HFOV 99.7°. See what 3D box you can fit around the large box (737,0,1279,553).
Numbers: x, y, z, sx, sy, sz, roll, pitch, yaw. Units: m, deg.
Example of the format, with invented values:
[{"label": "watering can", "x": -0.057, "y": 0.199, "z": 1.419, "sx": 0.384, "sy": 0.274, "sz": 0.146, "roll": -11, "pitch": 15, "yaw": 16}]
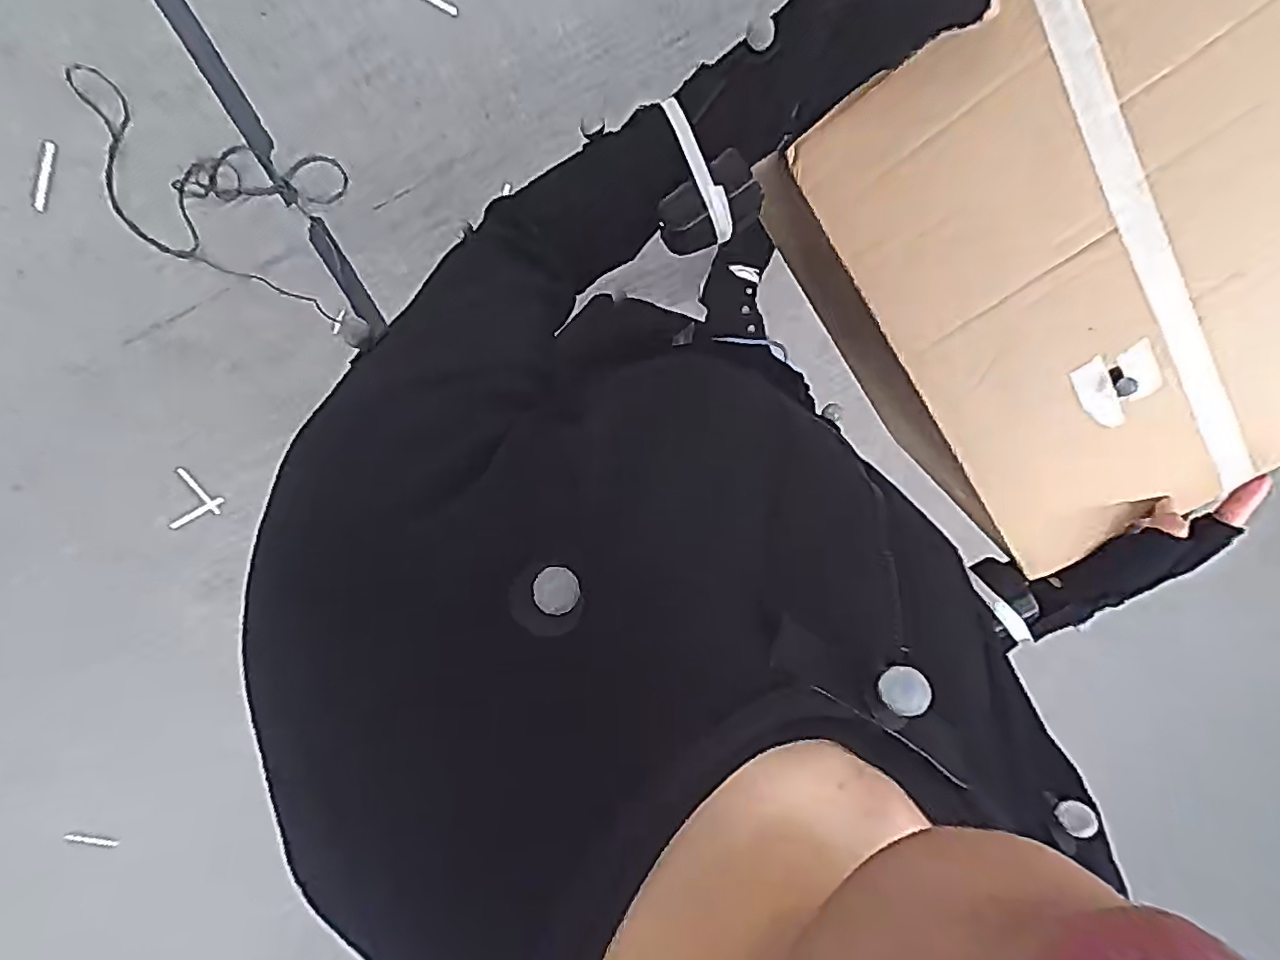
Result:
[{"label": "large box", "x": 0.339, "y": -0.221, "z": 0.502, "sx": 0.320, "sy": 0.320, "sz": 0.408, "roll": -33, "pitch": 110, "yaw": 19}]
